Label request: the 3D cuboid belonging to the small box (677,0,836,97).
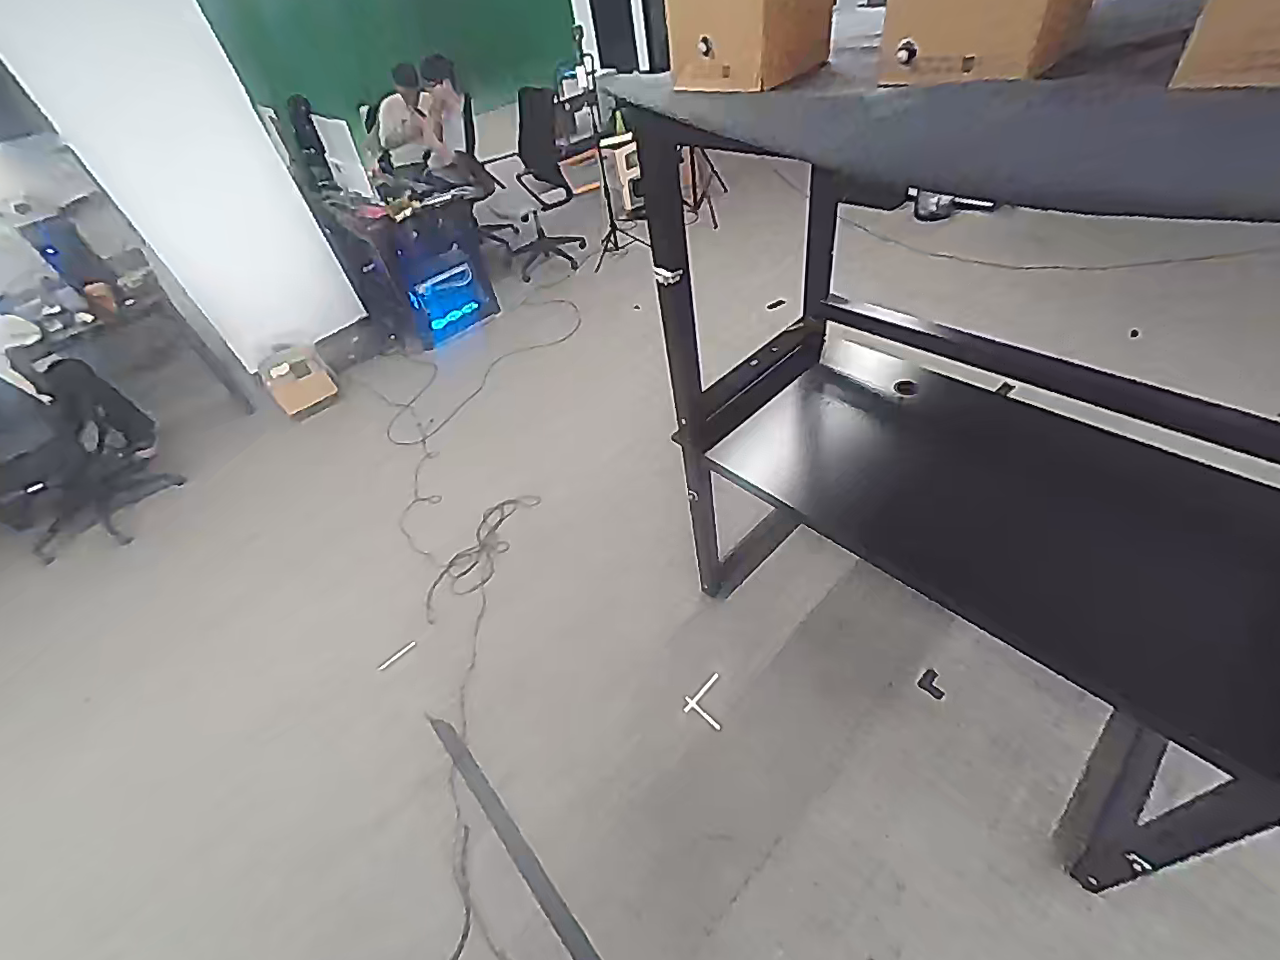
[{"bbox_3d":[0.161,-0.662,0.756,0.168,0.176,0.179,30,59,34],"label":"small box"}]
